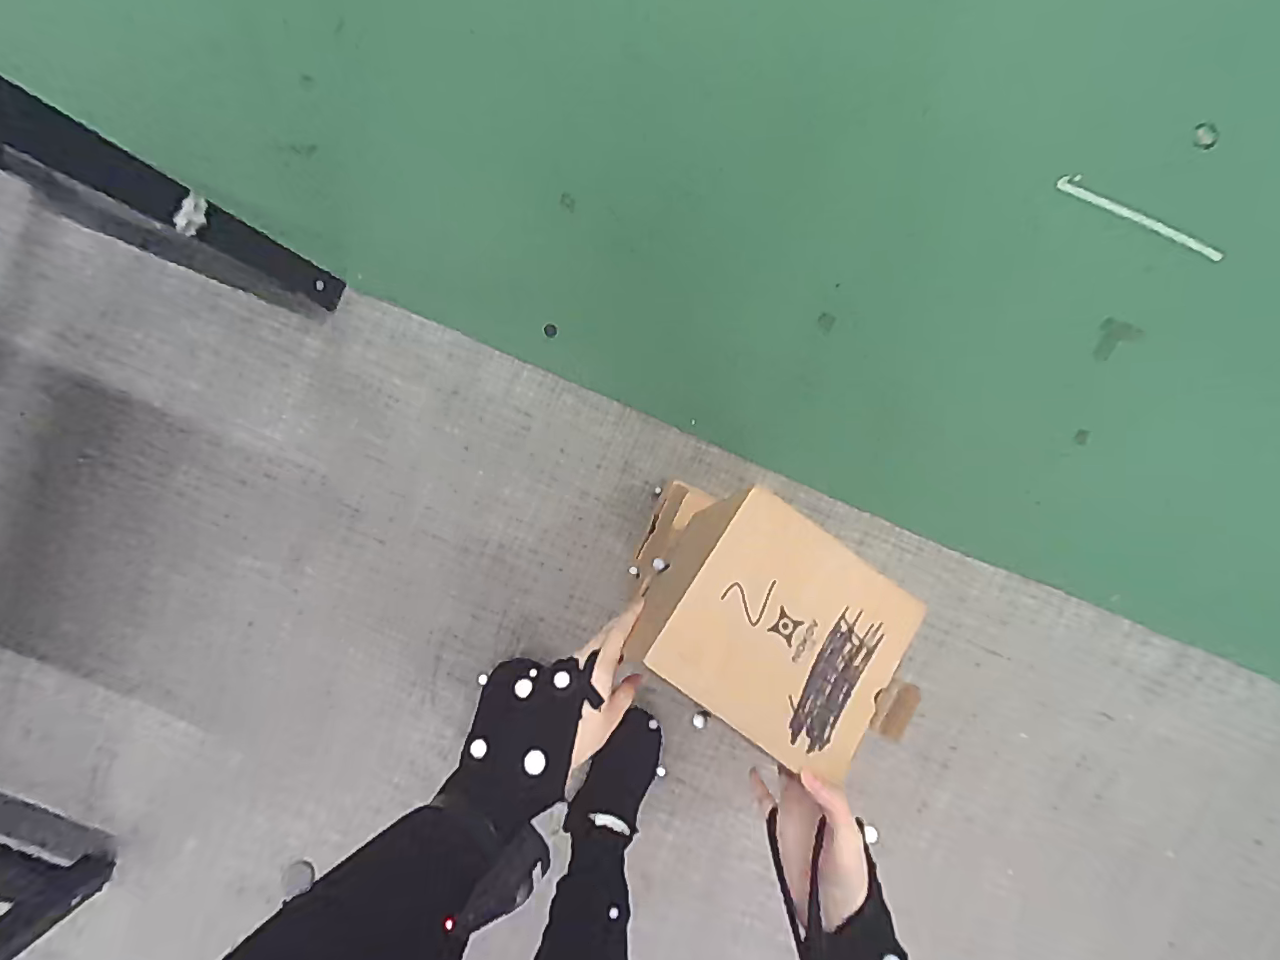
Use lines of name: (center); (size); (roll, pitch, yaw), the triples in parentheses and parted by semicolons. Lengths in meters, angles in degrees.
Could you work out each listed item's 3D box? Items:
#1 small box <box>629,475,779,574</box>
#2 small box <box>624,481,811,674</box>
small box: (0.095, 0.101, 0.869); (0.179, 0.176, 0.168); (26, 92, -2)
small box: (0.091, 0.114, 0.708); (0.168, 0.176, 0.179); (25, 92, -2)
